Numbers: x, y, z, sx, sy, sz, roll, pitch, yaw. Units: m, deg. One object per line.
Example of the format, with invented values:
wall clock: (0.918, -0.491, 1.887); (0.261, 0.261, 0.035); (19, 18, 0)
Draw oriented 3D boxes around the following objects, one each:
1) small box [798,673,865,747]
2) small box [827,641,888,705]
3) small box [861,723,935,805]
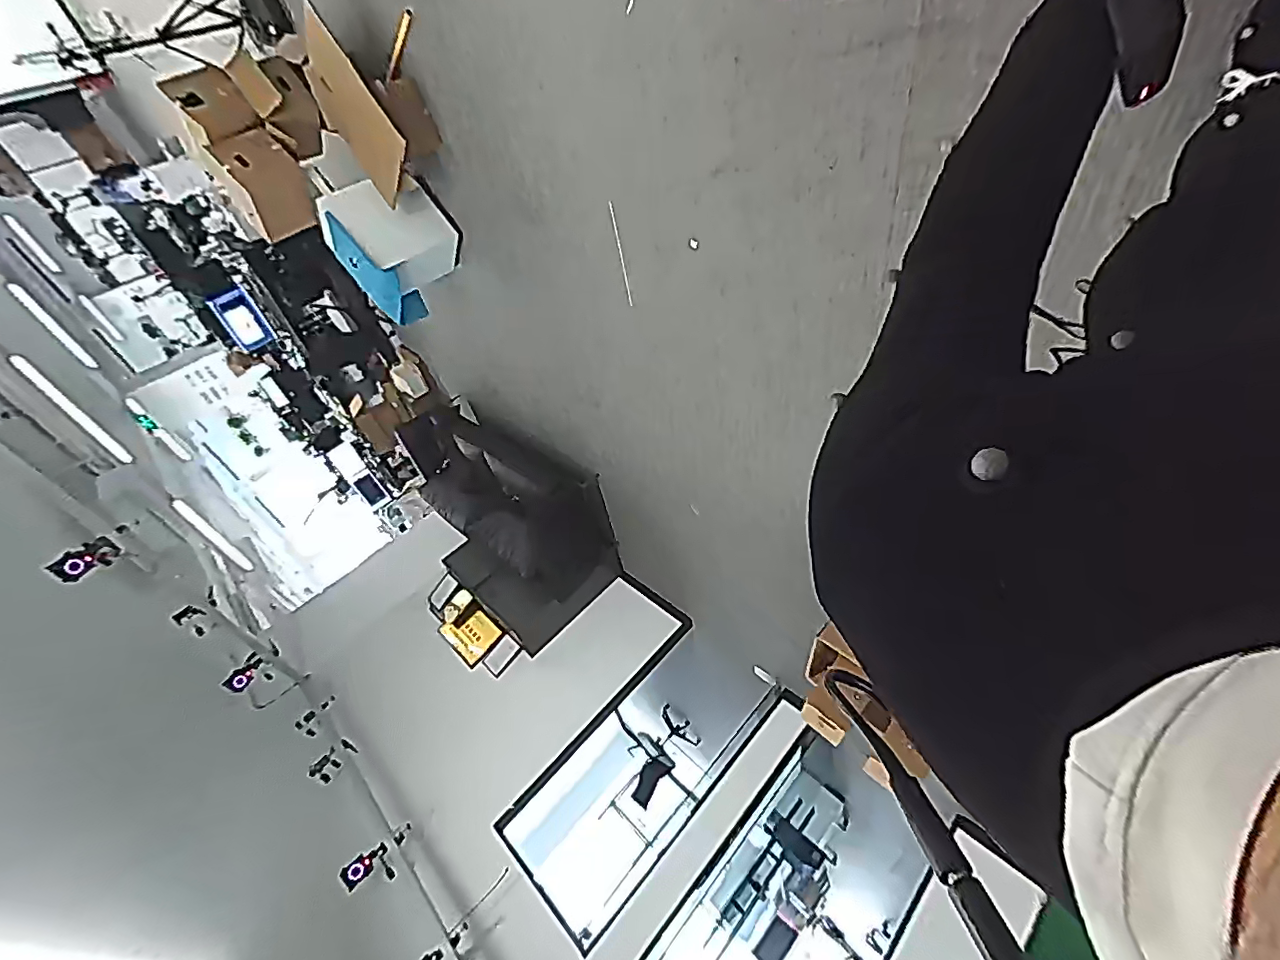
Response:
small box: (0.725, 0.866, 2.044); (0.168, 0.176, 0.179); (34, 150, 31)
small box: (0.840, 0.771, 2.115); (0.168, 0.176, 0.179); (33, 149, 31)
small box: (0.915, 1.002, 1.916); (0.168, 0.176, 0.179); (32, 149, 32)
